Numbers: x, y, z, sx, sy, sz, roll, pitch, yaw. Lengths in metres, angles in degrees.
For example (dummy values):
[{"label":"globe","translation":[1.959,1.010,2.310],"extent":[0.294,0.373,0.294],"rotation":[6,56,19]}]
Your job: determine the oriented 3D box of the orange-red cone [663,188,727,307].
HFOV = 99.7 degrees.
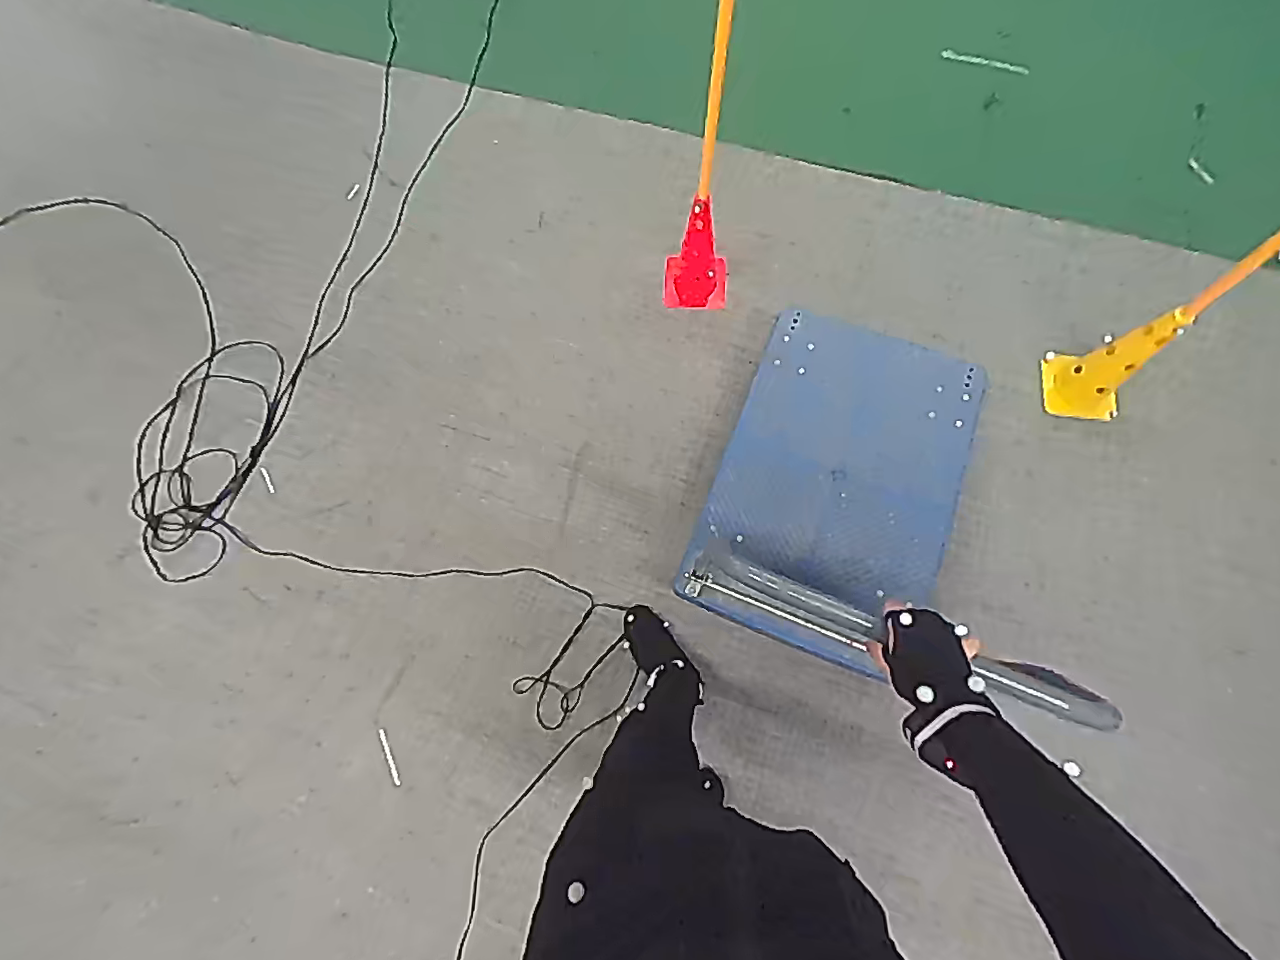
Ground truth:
[{"label":"orange-red cone","translation":[0.167,-0.702,1.596],"extent":[0.199,0.360,0.198],"rotation":[4,72,5]}]
